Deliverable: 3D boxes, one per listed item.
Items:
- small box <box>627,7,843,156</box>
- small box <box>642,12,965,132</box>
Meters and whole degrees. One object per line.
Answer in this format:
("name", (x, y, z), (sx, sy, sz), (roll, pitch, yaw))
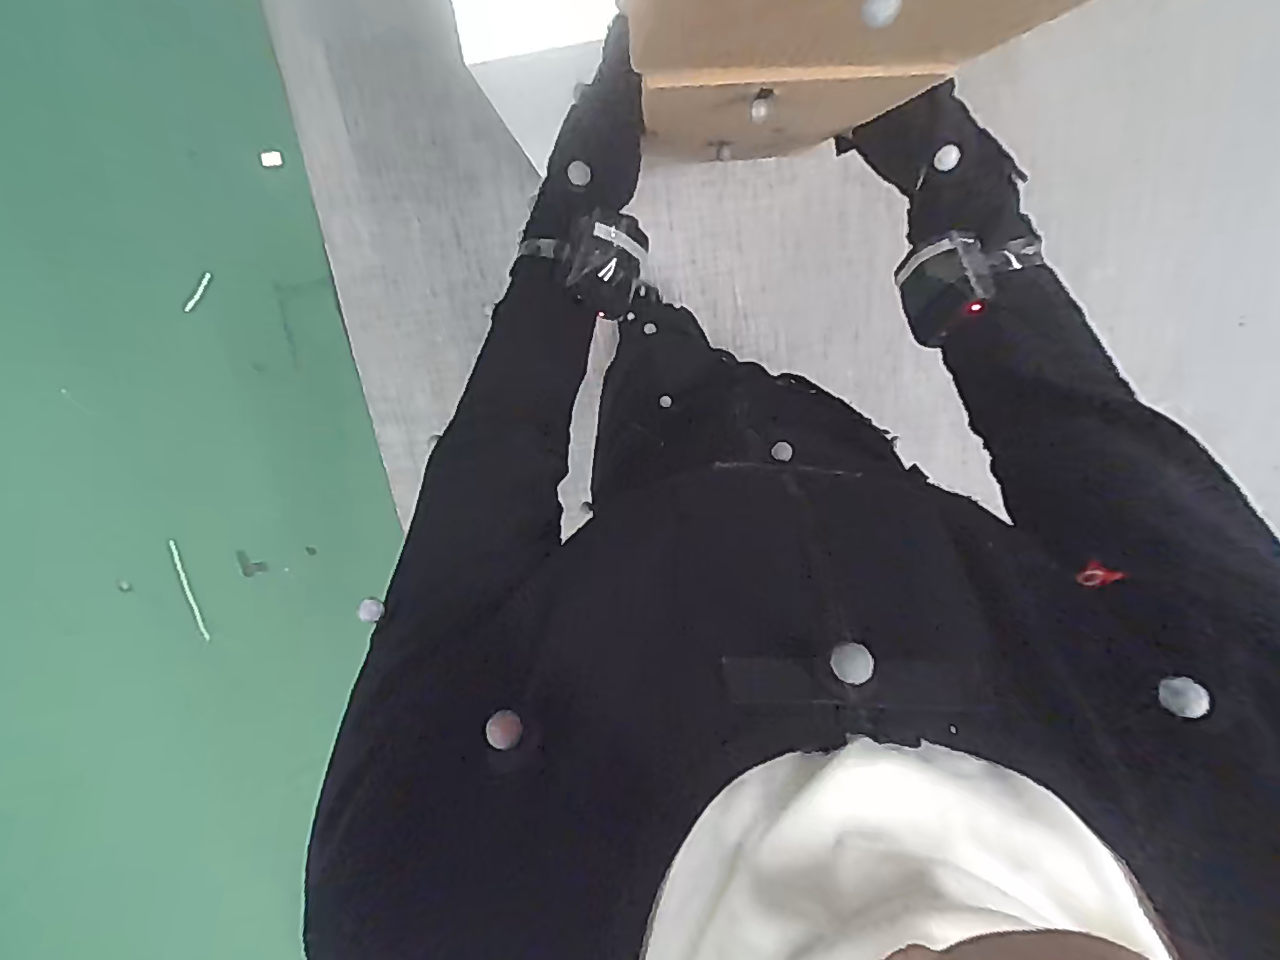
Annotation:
("small box", (0.079, -0.395, 0.477), (0.179, 0.176, 0.168), (-2, 114, 2))
("small box", (0.082, -0.334, 0.328), (0.168, 0.176, 0.179), (-4, 115, 2))
